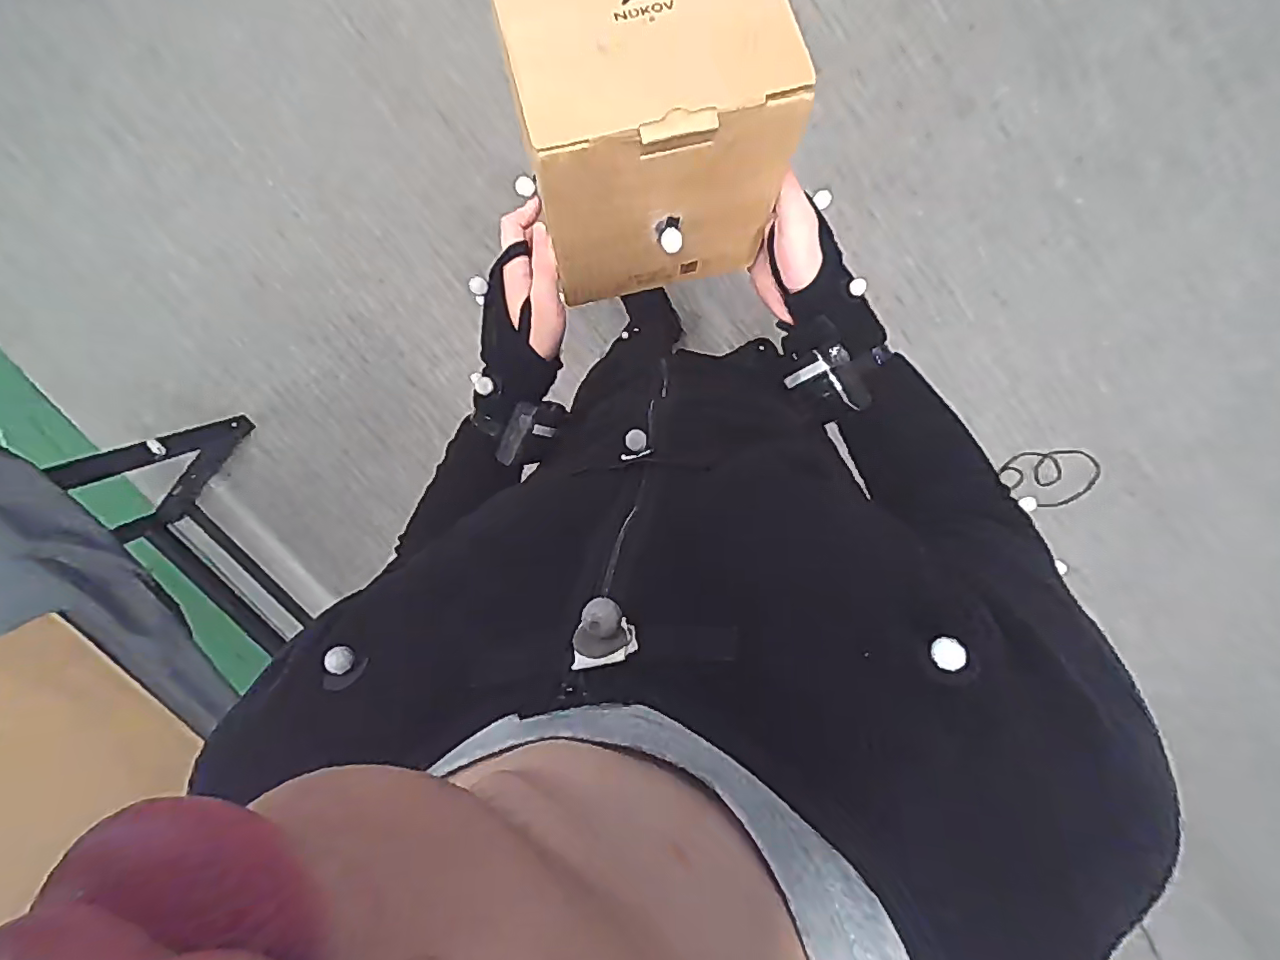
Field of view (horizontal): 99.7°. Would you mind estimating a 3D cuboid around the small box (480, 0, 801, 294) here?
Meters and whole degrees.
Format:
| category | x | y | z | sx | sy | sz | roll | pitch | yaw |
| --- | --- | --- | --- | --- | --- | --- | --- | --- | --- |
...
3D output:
| category | x | y | z | sx | sy | sz | roll | pitch | yaw |
| --- | --- | --- | --- | --- | --- | --- | --- | --- | --- |
| small box | -0.007 | -0.255 | 0.390 | 0.168 | 0.176 | 0.179 | -13 | 80 | -4 |
